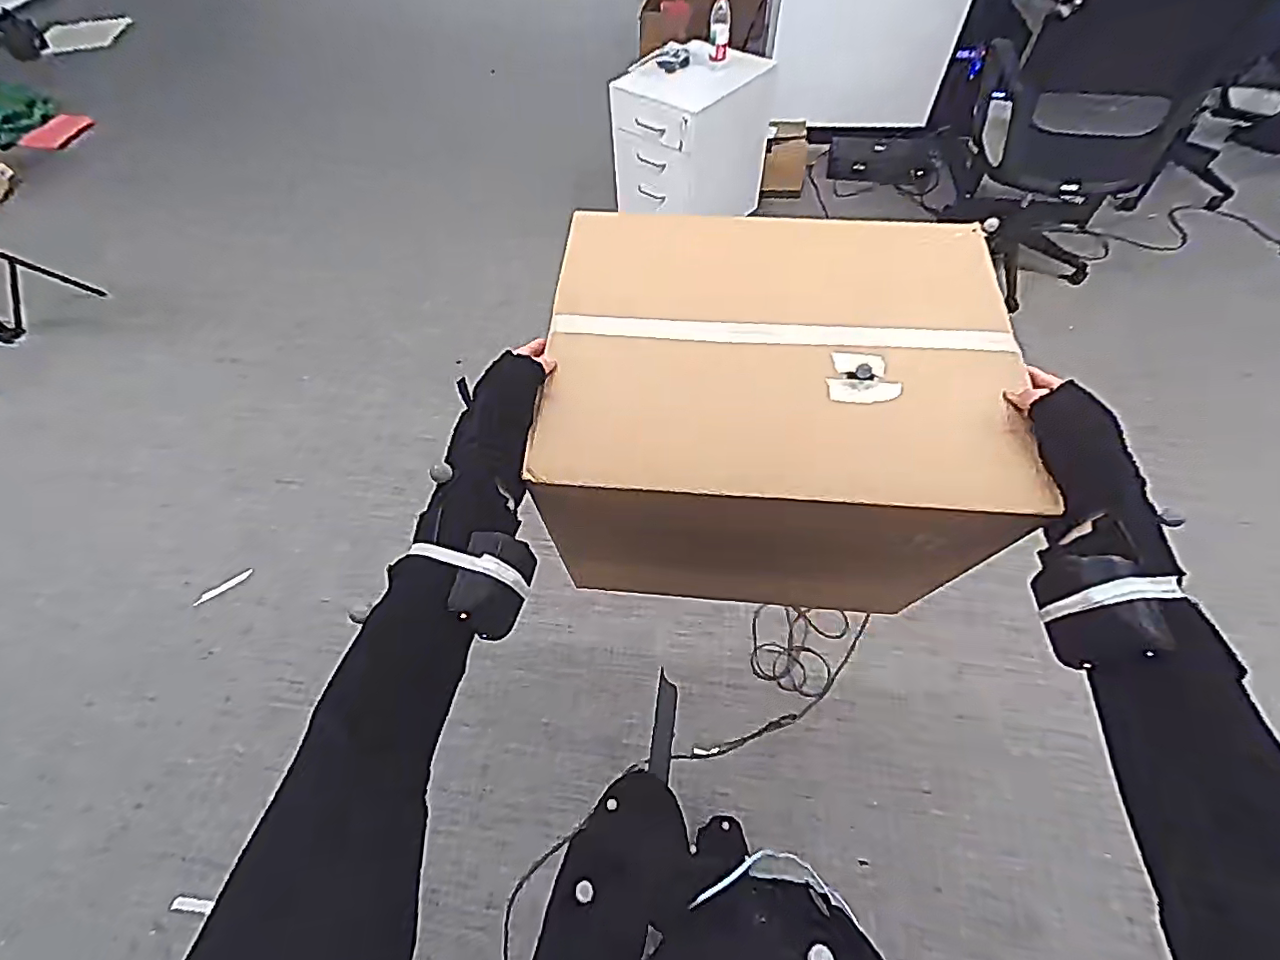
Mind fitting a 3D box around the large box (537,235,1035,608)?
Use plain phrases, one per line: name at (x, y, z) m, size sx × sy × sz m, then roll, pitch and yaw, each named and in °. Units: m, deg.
large box at (0.123, -0.048, 0.628) m, size 0.408 × 0.320 × 0.320 m, roll 4°, pitch 64°, yaw 3°
